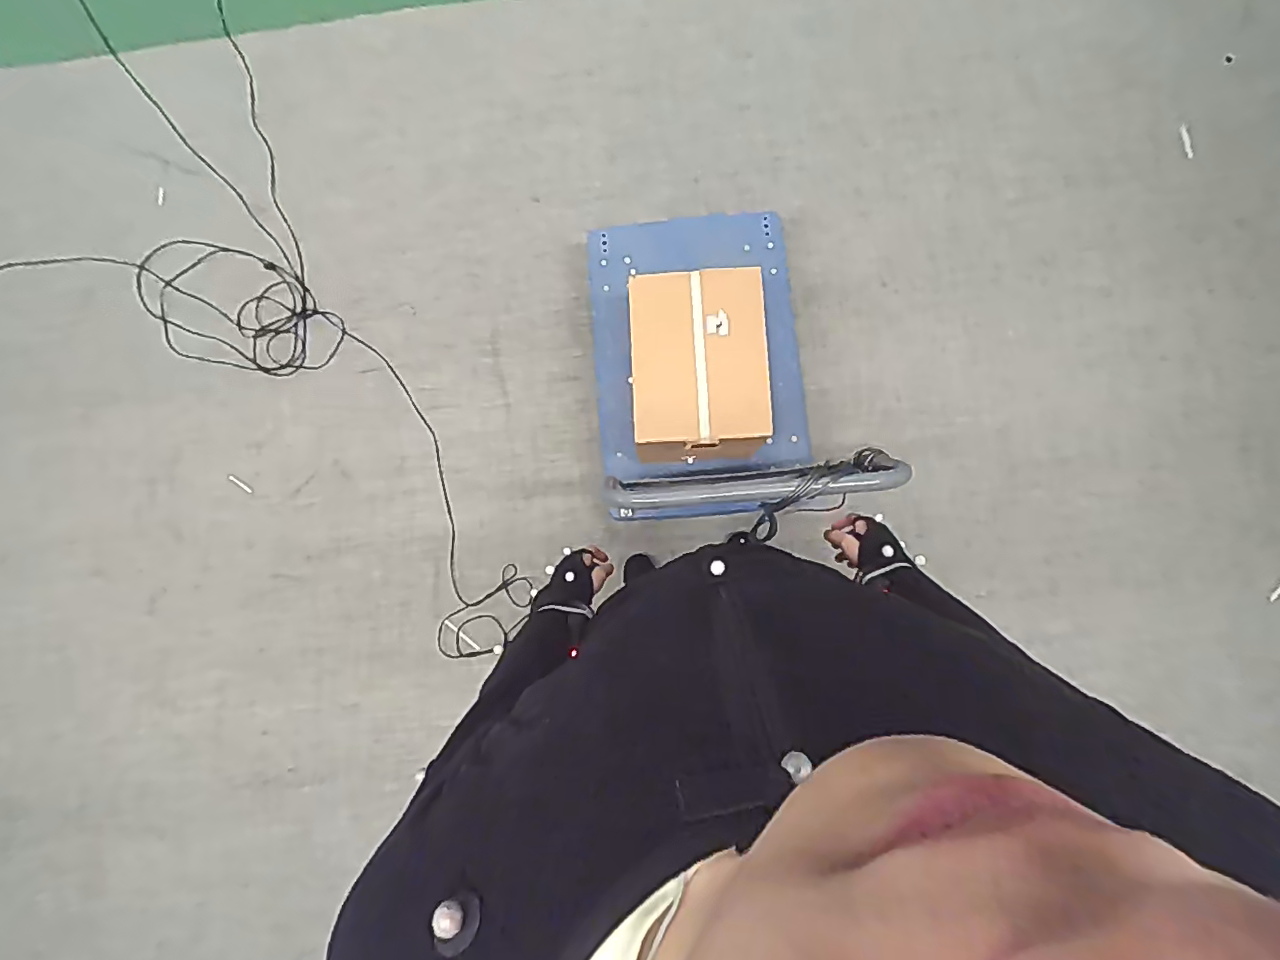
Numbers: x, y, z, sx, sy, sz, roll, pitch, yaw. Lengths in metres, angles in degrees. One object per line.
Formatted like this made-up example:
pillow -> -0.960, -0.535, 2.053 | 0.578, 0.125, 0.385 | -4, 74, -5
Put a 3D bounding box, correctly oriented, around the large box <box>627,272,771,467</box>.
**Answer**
large box -> 0.139, -0.262, 1.391 | 0.320, 0.320, 0.408 | -2, 82, 2
